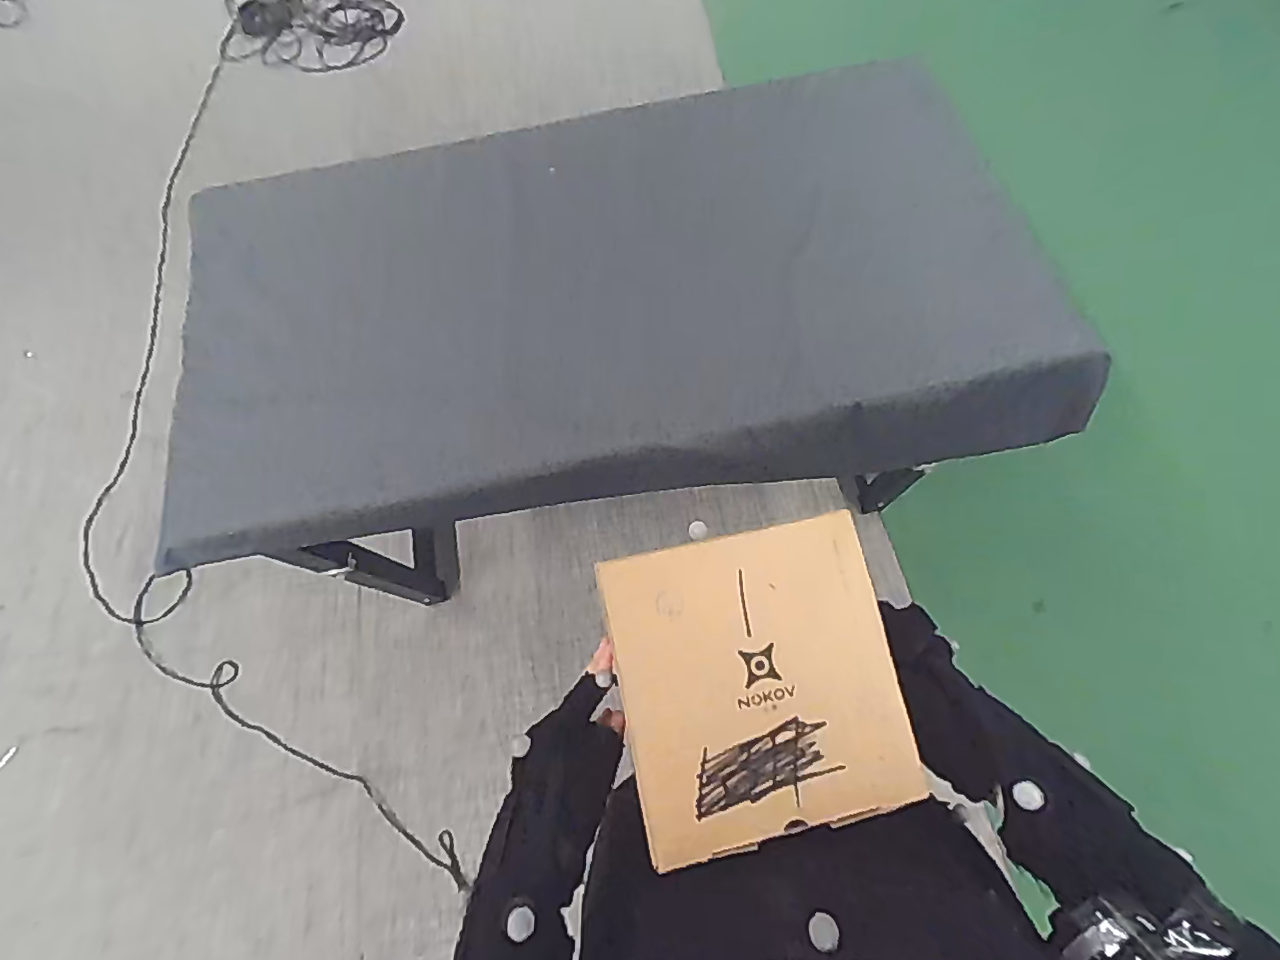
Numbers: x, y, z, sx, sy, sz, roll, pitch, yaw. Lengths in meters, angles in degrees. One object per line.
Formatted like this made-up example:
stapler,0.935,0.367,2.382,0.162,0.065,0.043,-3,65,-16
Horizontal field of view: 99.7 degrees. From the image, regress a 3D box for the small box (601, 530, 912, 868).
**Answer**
small box,0.066,0.140,0.410,0.168,0.176,0.179,-10,82,-6
